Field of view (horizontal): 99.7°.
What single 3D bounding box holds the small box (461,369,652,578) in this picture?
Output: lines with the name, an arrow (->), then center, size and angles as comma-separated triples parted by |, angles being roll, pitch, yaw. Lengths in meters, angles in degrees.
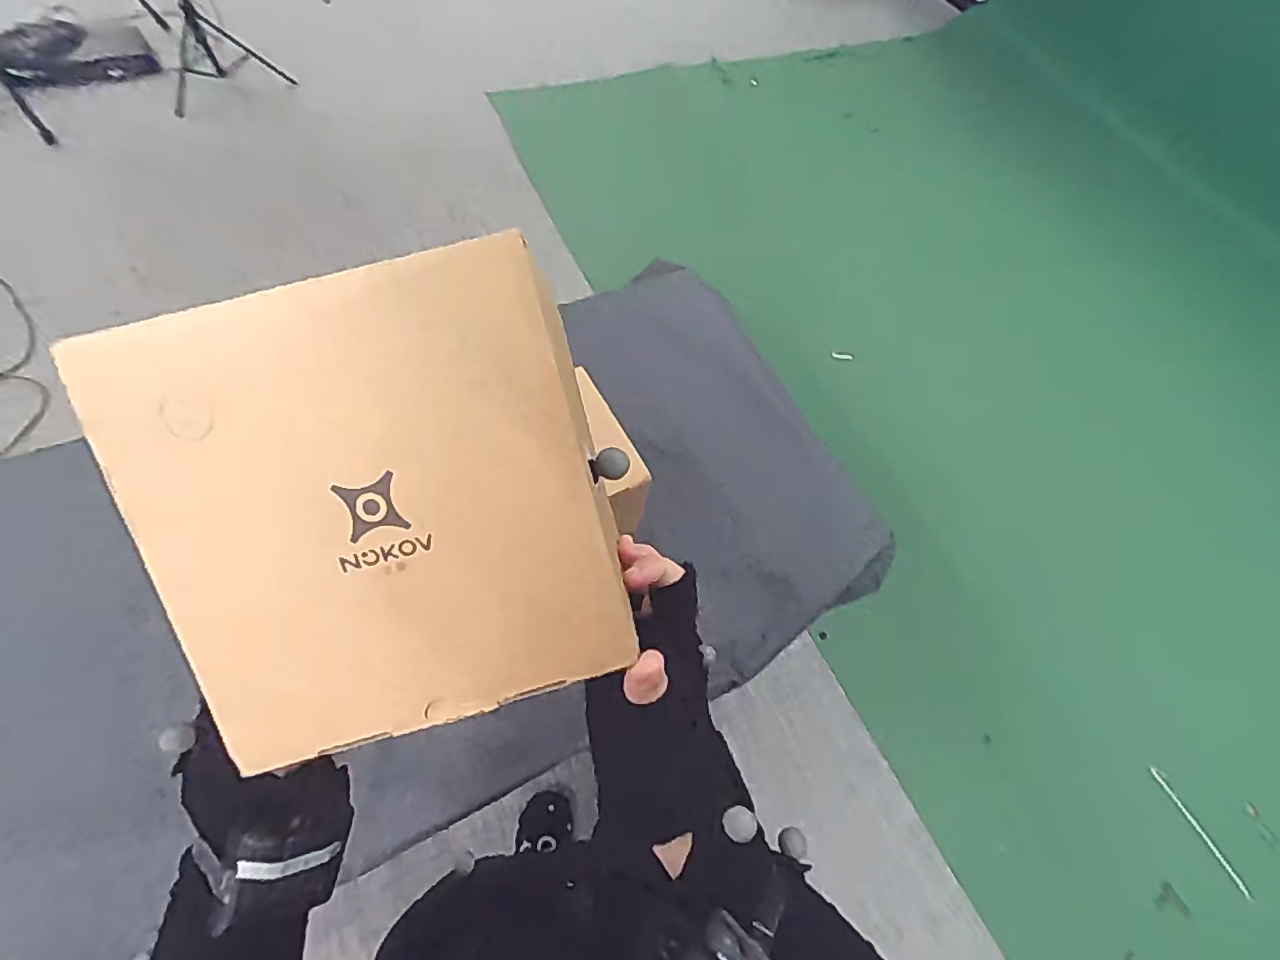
small box -> -0.107, -0.003, 0.685 | 0.168, 0.176, 0.179 | -25, 70, -19
